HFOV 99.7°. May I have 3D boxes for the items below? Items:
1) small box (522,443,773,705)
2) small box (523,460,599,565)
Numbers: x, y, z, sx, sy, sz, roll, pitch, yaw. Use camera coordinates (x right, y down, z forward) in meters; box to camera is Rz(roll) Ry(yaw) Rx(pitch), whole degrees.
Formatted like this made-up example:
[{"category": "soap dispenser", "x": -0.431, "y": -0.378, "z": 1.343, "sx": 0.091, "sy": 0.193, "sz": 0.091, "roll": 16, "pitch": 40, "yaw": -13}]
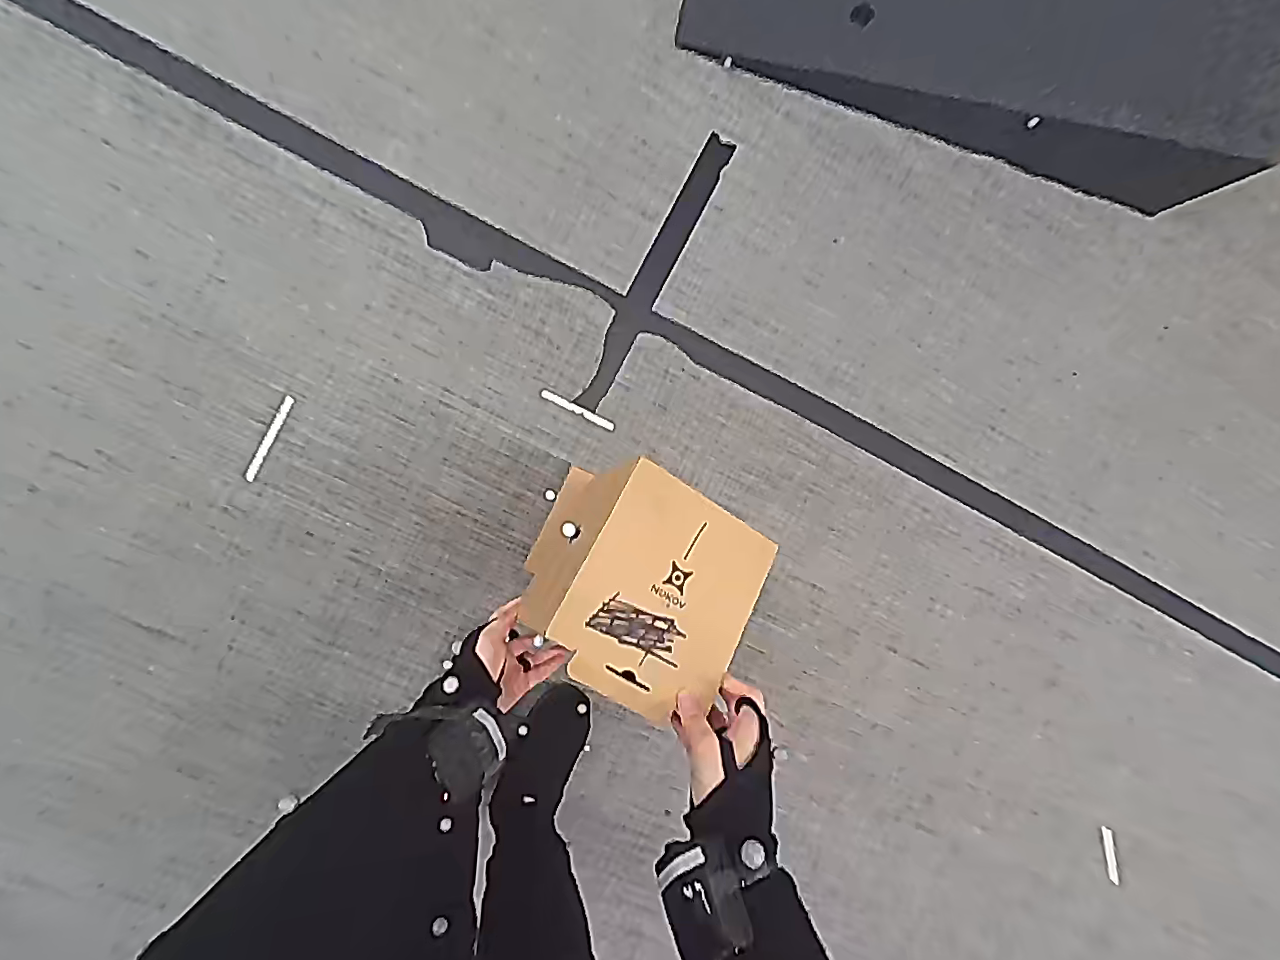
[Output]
[{"category": "small box", "x": -0.004, "y": 0.092, "z": 0.547, "sx": 0.168, "sy": 0.176, "sz": 0.179, "roll": 33, "pitch": 71, "yaw": -14}, {"category": "small box", "x": -0.064, "y": 0.073, "z": 0.854, "sx": 0.179, "sy": 0.176, "sz": 0.168, "roll": 27, "pitch": 90, "yaw": -8}]
